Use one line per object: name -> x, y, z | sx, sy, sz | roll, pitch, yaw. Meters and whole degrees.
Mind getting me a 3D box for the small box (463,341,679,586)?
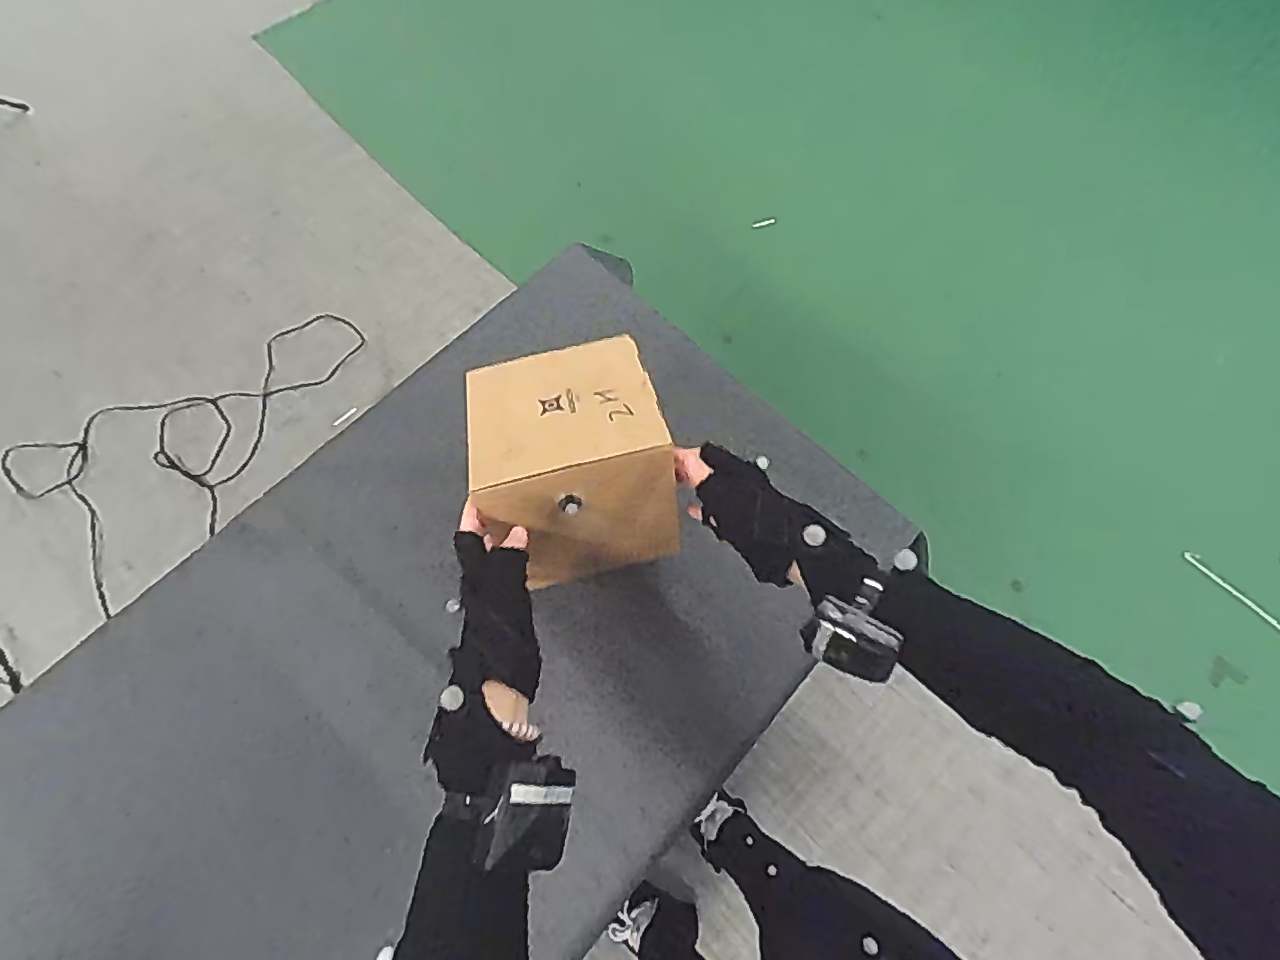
small box -> -0.065, -0.013, 0.552 | 0.179, 0.176, 0.168 | -12, 48, -4
